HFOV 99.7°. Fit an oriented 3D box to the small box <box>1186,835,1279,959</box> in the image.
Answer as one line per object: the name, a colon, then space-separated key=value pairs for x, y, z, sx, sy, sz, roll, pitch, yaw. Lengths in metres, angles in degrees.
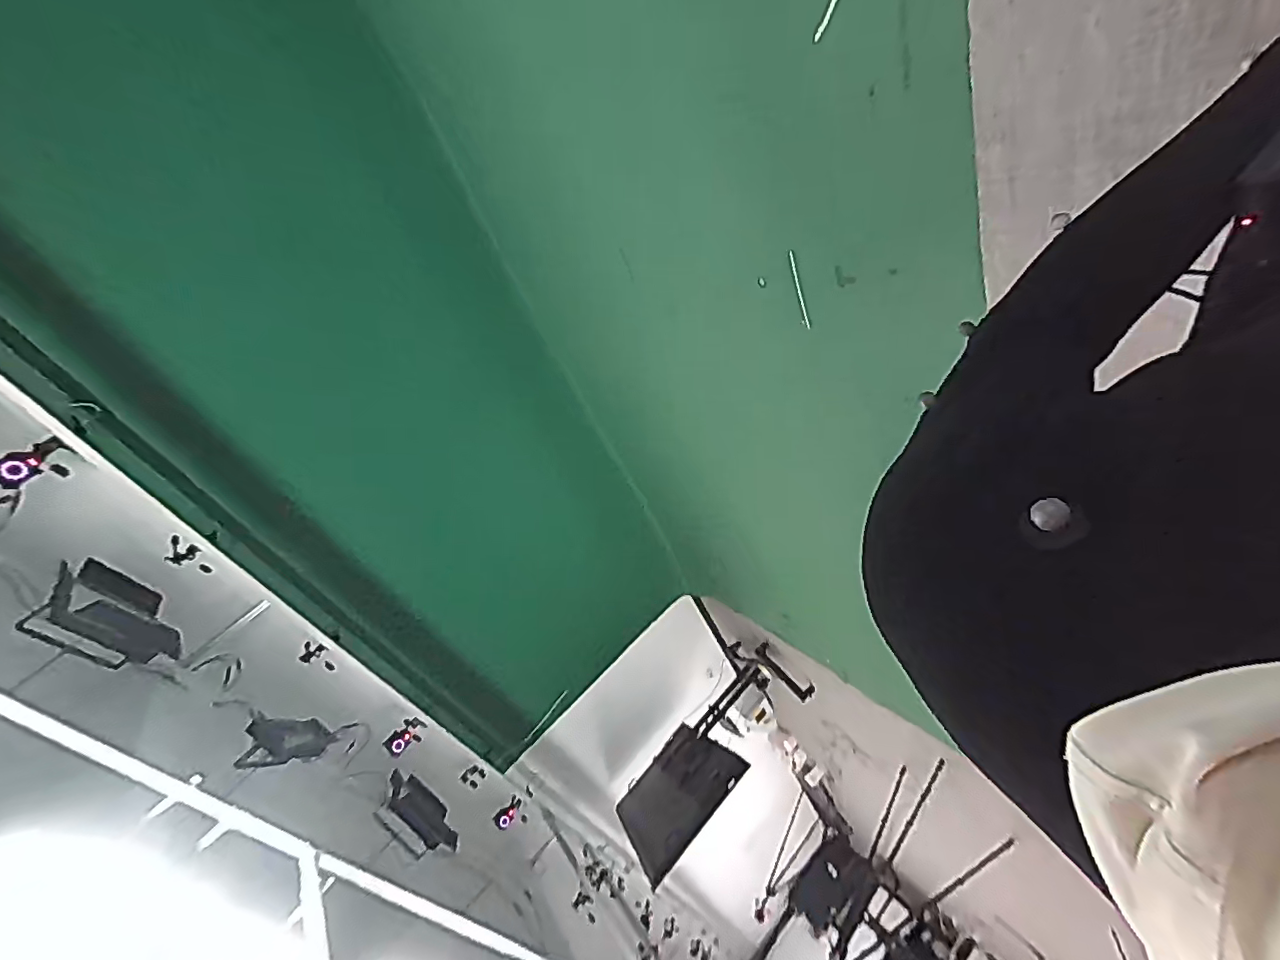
small box: x=1.300 y=0.901 z=1.136 sx=0.168 sy=0.176 sz=0.179 roll=22 pitch=148 yaw=52
